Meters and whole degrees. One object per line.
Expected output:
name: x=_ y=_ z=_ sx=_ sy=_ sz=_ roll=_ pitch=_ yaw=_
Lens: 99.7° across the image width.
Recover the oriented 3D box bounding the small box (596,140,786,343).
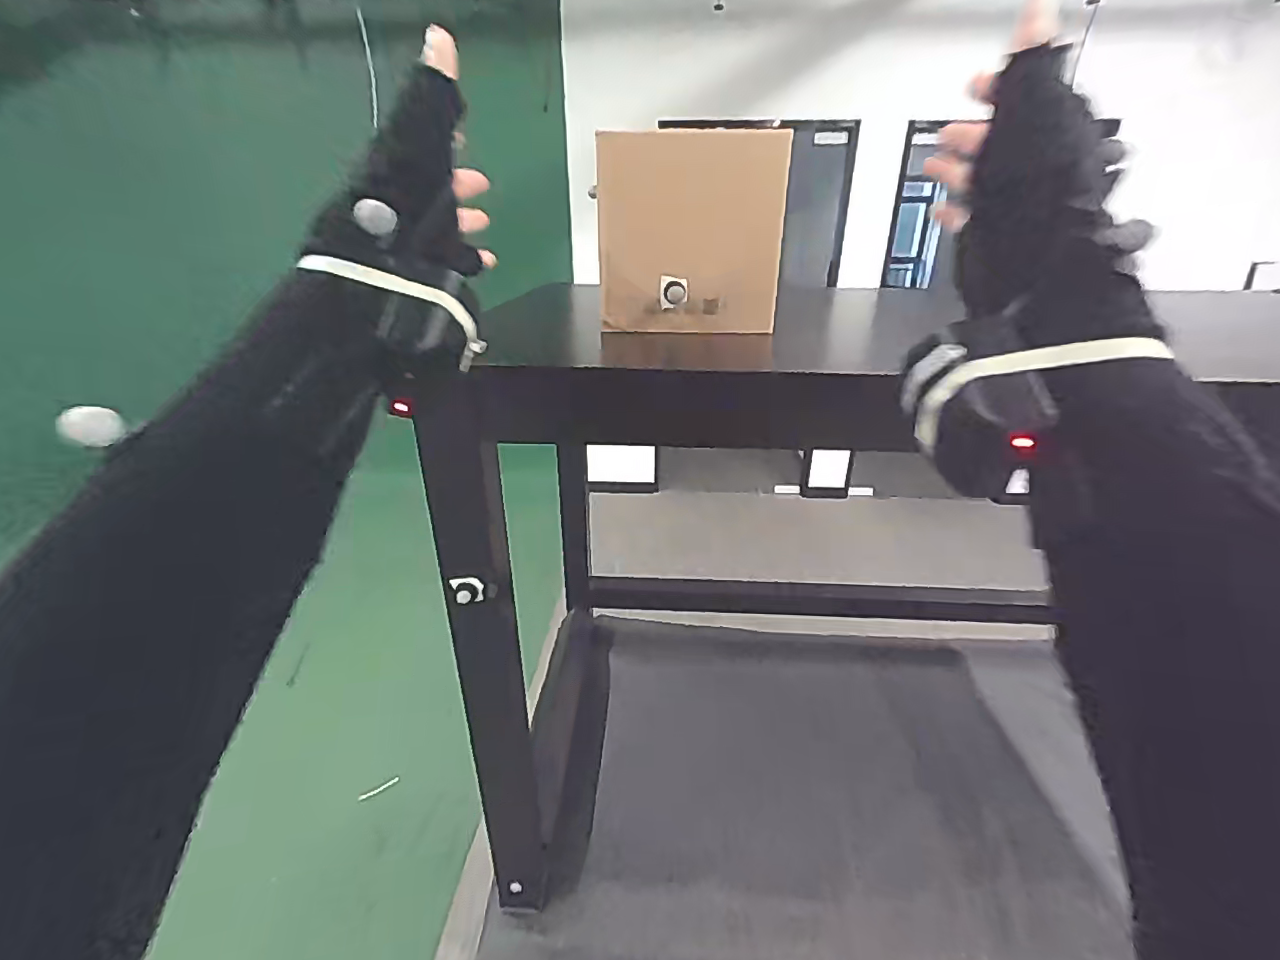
small box: x=0.043 y=-0.245 z=0.567 sx=0.168 sy=0.176 sz=0.179 roll=-1 pitch=25 yaw=0
